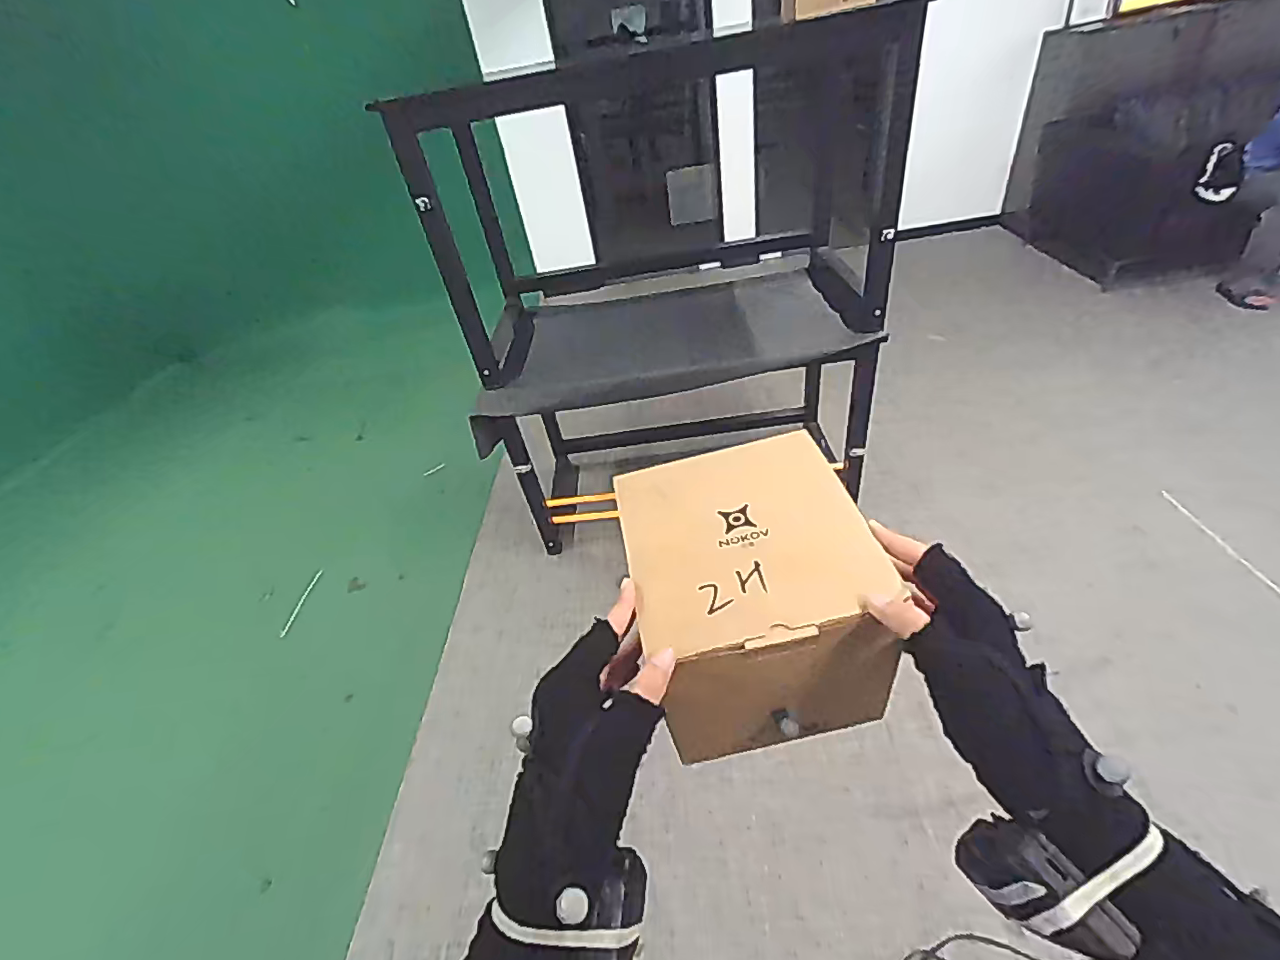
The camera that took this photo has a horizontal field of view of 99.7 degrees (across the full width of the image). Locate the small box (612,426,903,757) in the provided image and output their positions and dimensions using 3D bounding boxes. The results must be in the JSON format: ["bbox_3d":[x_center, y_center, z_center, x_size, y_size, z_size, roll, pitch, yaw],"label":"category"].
[{"bbox_3d":[0.080,0.087,0.433,0.168,0.176,0.179,-14,41,2],"label":"small box"}]
